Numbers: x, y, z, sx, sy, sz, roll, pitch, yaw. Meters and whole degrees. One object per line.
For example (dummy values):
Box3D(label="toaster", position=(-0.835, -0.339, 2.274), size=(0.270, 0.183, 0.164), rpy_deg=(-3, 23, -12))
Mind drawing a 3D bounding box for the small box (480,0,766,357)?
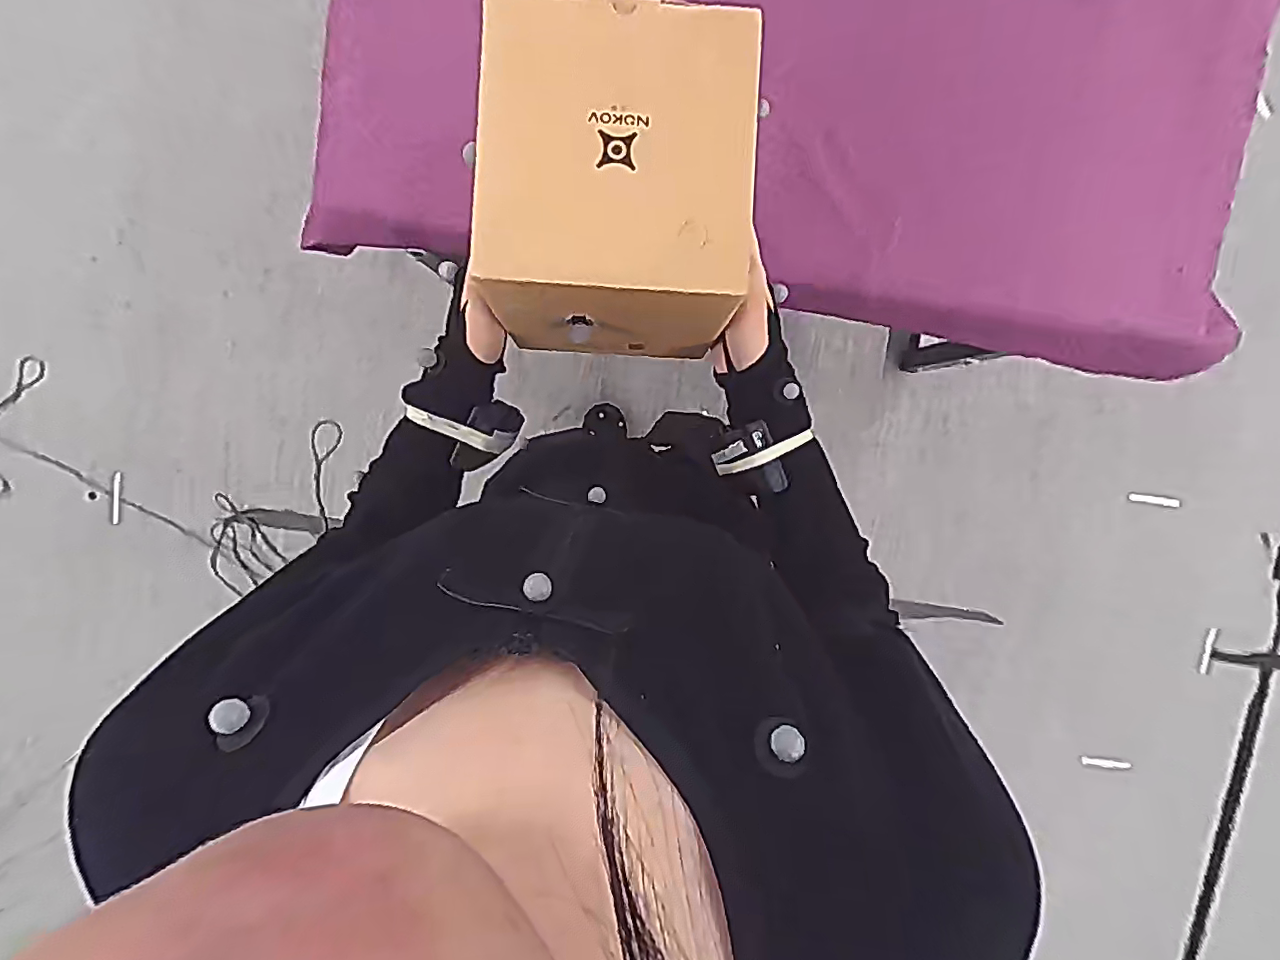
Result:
Box3D(label="small box", position=(-0.013, -0.198, 0.405), size=(0.168, 0.176, 0.179), rpy_deg=(3, 88, -3))
